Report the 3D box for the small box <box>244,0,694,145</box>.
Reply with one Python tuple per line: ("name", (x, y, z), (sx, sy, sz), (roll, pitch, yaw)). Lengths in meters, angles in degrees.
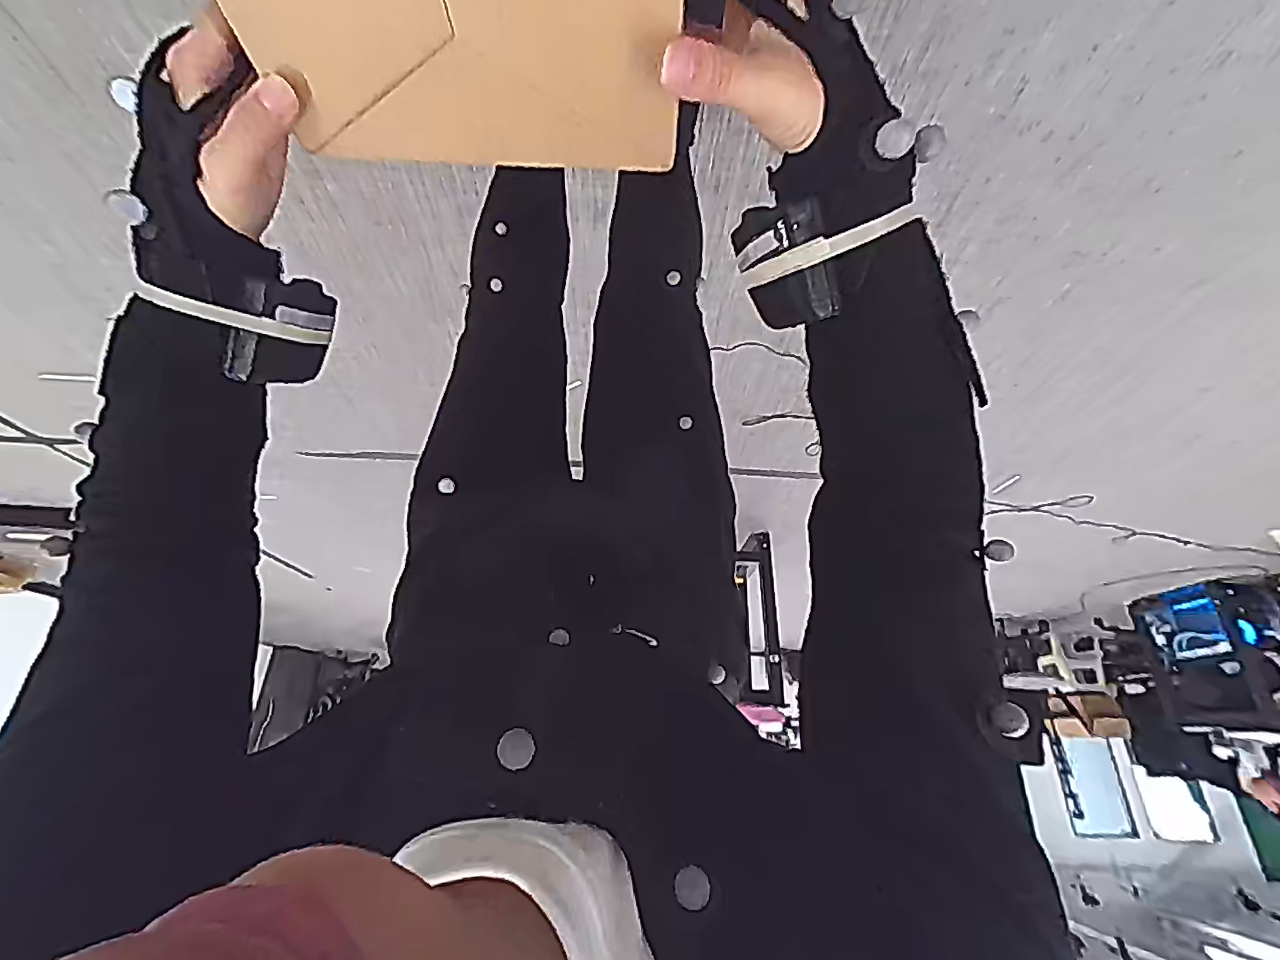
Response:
("small box", (-0.061, -0.262, 0.212), (0.179, 0.176, 0.168), (3, 156, 1))
